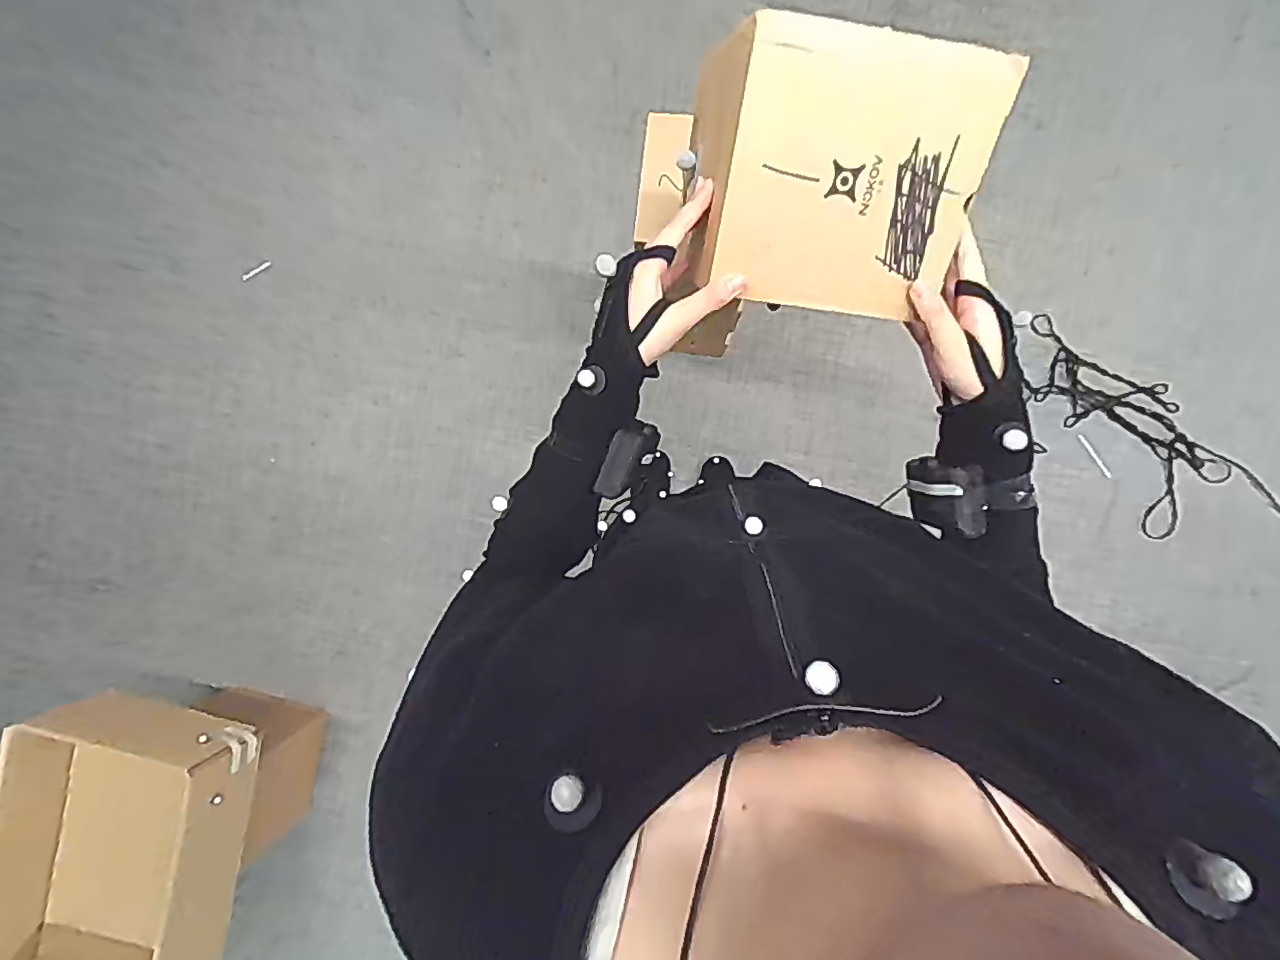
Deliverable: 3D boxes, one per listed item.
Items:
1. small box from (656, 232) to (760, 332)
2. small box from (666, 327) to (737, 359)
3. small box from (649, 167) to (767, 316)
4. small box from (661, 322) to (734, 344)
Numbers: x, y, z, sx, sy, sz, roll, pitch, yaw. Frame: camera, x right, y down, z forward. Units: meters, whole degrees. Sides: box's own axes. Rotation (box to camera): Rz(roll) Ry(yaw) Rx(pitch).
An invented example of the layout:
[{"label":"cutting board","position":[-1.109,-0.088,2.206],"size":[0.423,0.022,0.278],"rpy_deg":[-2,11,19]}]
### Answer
[{"label":"small box","position":[0.133,-0.406,1.094],"size":[0.179,0.176,0.168],"rpy_deg":[8,92,4]},{"label":"small box","position":[0.168,-0.425,1.419],"size":[0.179,0.176,0.168],"rpy_deg":[10,92,4]},{"label":"small box","position":[0.113,-0.401,0.933],"size":[0.168,0.176,0.179],"rpy_deg":[8,93,5]},{"label":"small box","position":[0.145,-0.424,1.256],"size":[0.179,0.176,0.168],"rpy_deg":[10,93,4]}]
